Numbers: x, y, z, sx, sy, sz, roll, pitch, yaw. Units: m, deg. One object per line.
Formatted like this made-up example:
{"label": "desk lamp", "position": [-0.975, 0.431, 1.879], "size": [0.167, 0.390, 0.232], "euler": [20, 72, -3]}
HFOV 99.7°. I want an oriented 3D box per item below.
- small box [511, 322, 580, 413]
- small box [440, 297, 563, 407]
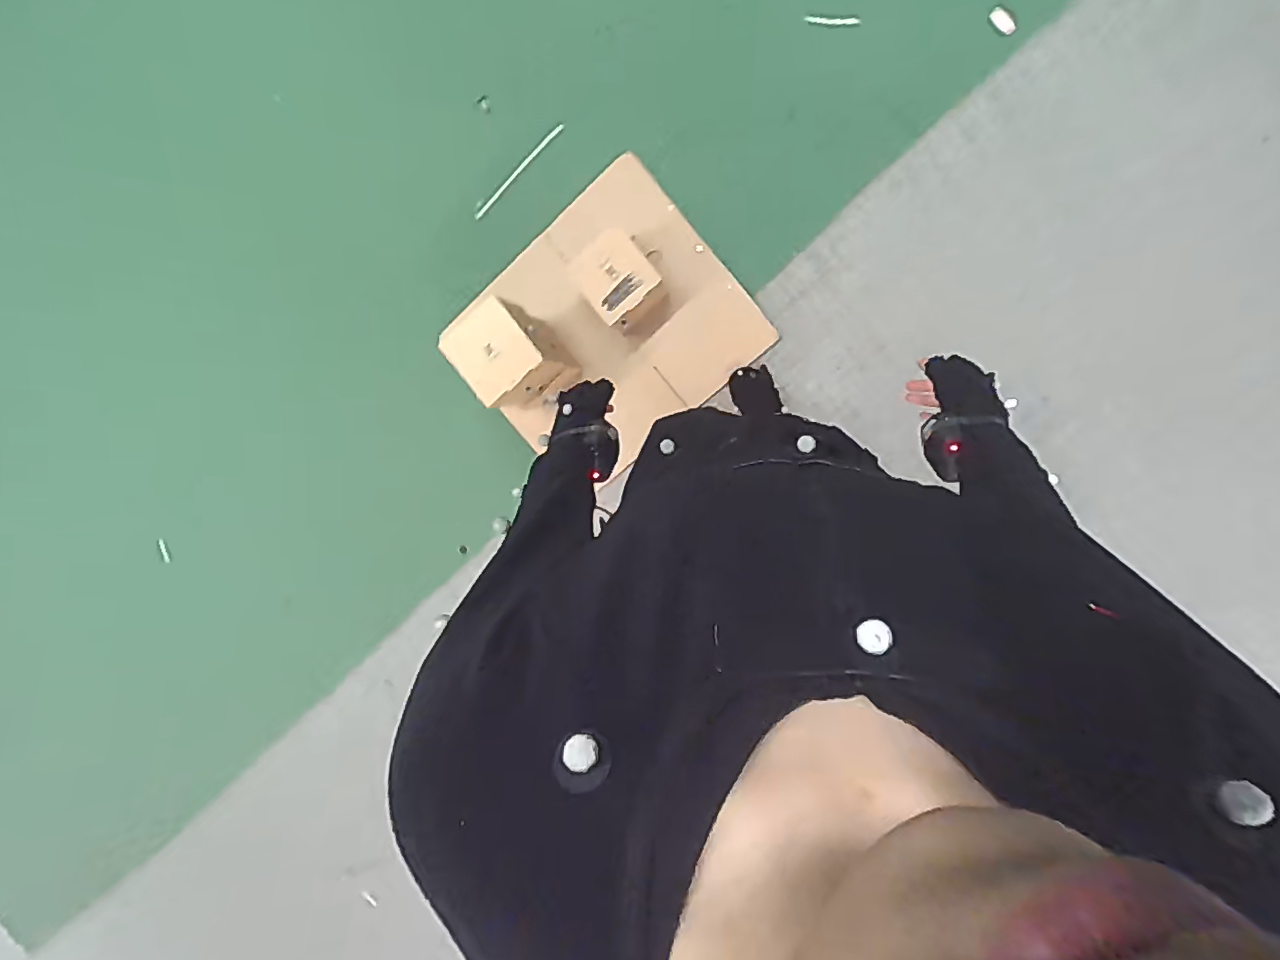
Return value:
{"label": "small box", "position": [-0.278, -0.291, 1.376], "size": [0.168, 0.176, 0.179], "euler": [-39, 92, 12]}
{"label": "small box", "position": [-0.303, -0.278, 1.216], "size": [0.168, 0.176, 0.179], "euler": [-38, 93, 11]}
